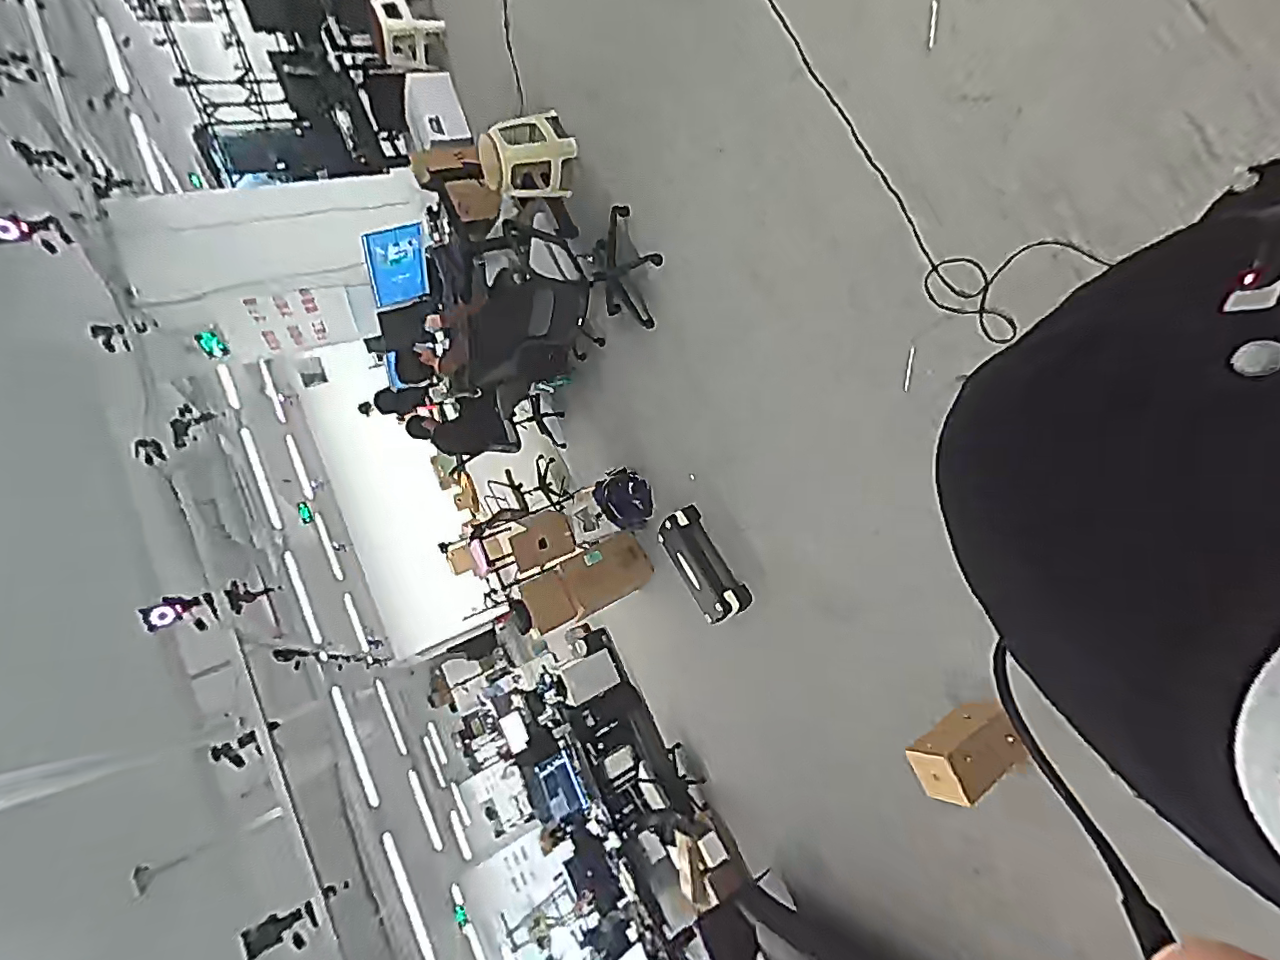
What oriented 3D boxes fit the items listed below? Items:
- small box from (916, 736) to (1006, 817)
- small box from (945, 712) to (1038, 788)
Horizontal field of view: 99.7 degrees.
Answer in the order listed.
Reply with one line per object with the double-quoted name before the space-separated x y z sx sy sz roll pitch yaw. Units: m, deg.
"small box" 1.077 0.979 1.804 0.168 0.176 0.179 65 157 11
"small box" 1.215 0.925 1.871 0.168 0.176 0.179 64 155 9
